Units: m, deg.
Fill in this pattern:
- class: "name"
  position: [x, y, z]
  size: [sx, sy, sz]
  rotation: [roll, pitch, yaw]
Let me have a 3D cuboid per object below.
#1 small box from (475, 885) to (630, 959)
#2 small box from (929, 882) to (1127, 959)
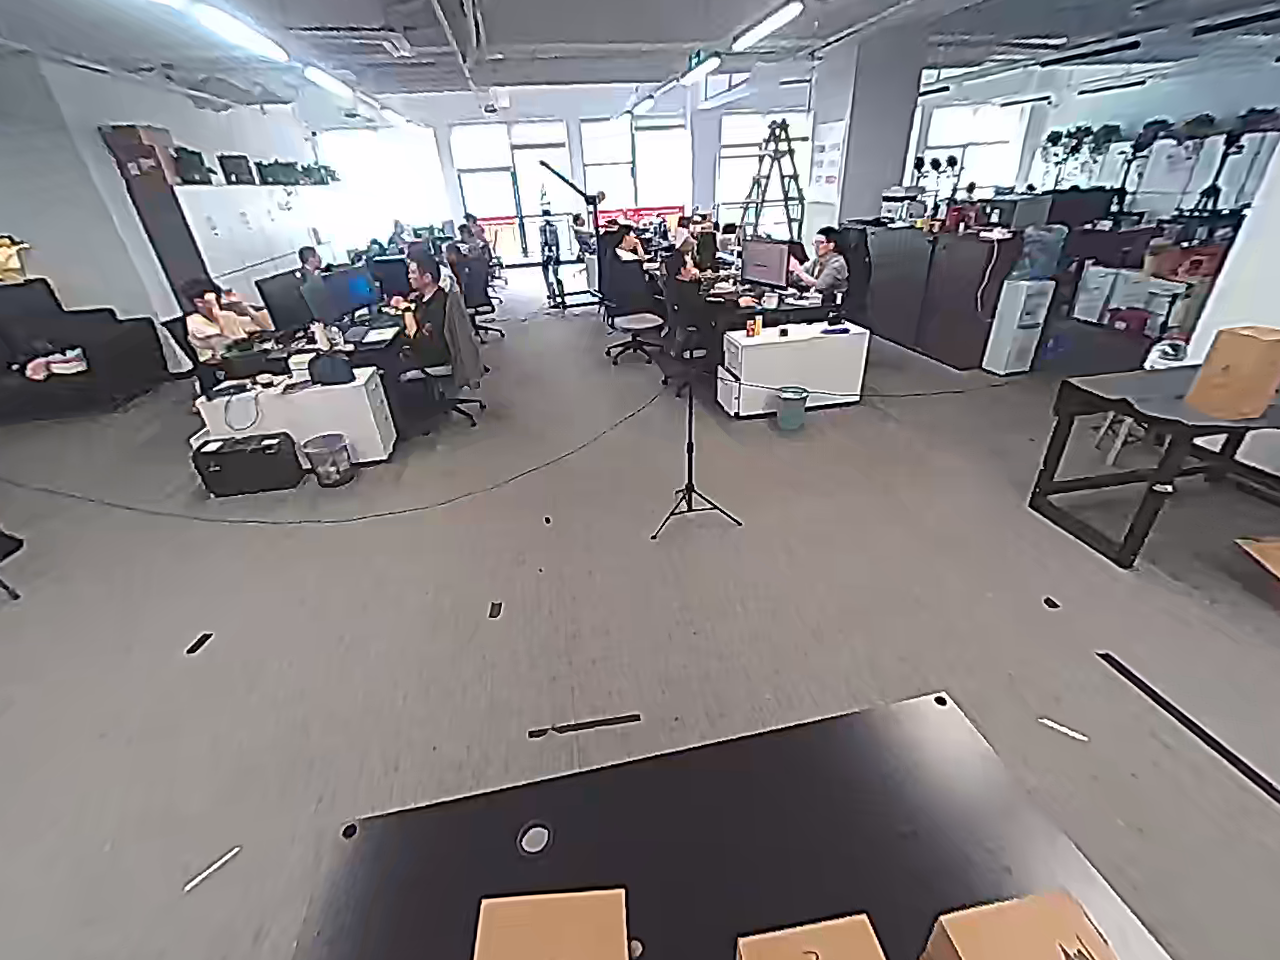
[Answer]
- class: "small box"
  position: [-0.094, 0.584, 0.590]
  size: [0.168, 0.176, 0.179]
  rotation: [-1, 33, -5]
- class: "small box"
  position: [0.467, 0.620, 0.635]
  size: [0.179, 0.176, 0.168]
  rotation: [-9, 29, -6]
